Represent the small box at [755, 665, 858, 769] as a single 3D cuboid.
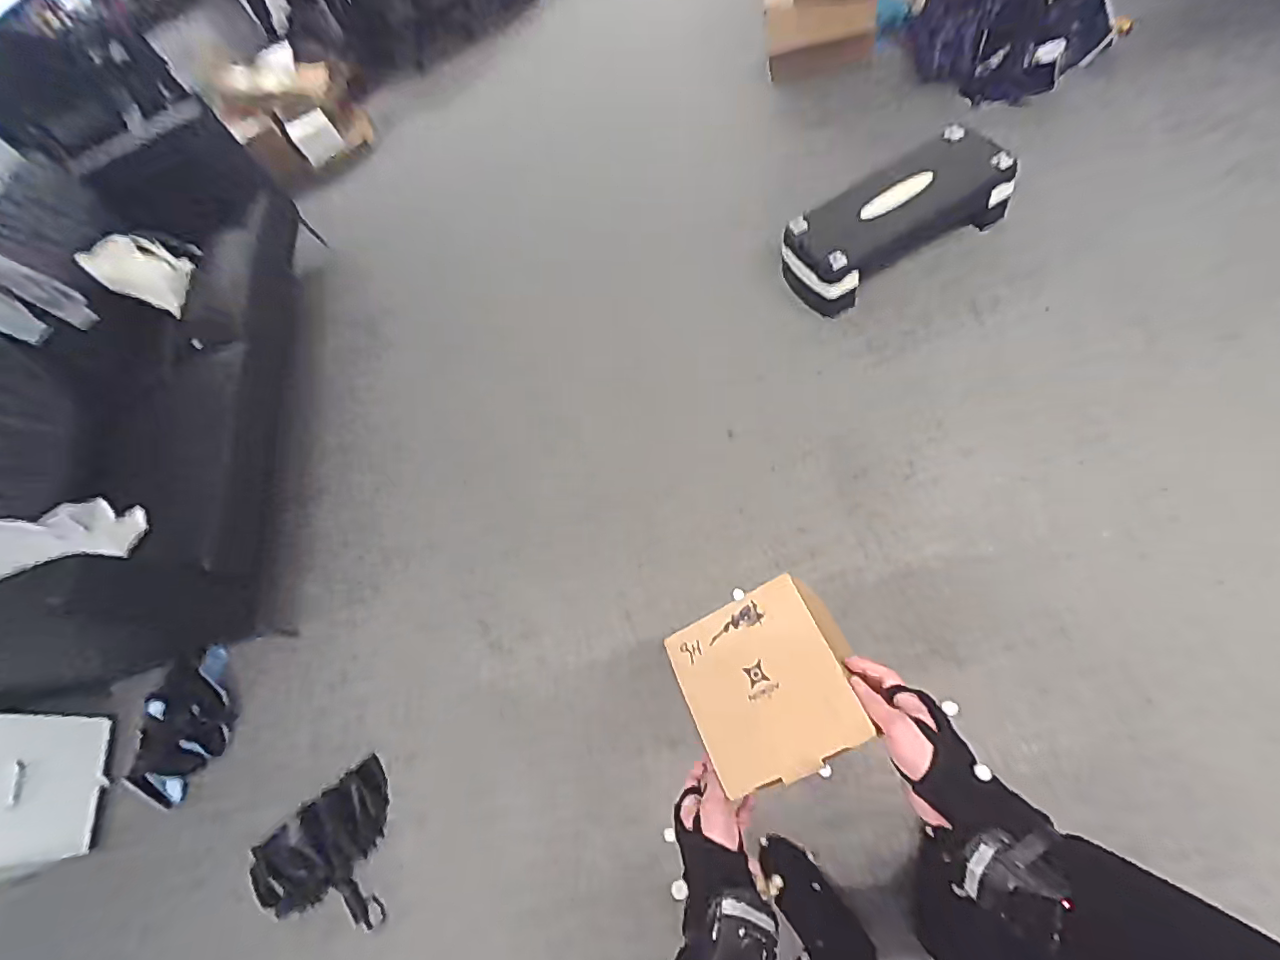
[{"bbox_3d":[0.379,0.547,1.246,0.168,0.176,0.179,-23,61,7],"label":"small box"}]
